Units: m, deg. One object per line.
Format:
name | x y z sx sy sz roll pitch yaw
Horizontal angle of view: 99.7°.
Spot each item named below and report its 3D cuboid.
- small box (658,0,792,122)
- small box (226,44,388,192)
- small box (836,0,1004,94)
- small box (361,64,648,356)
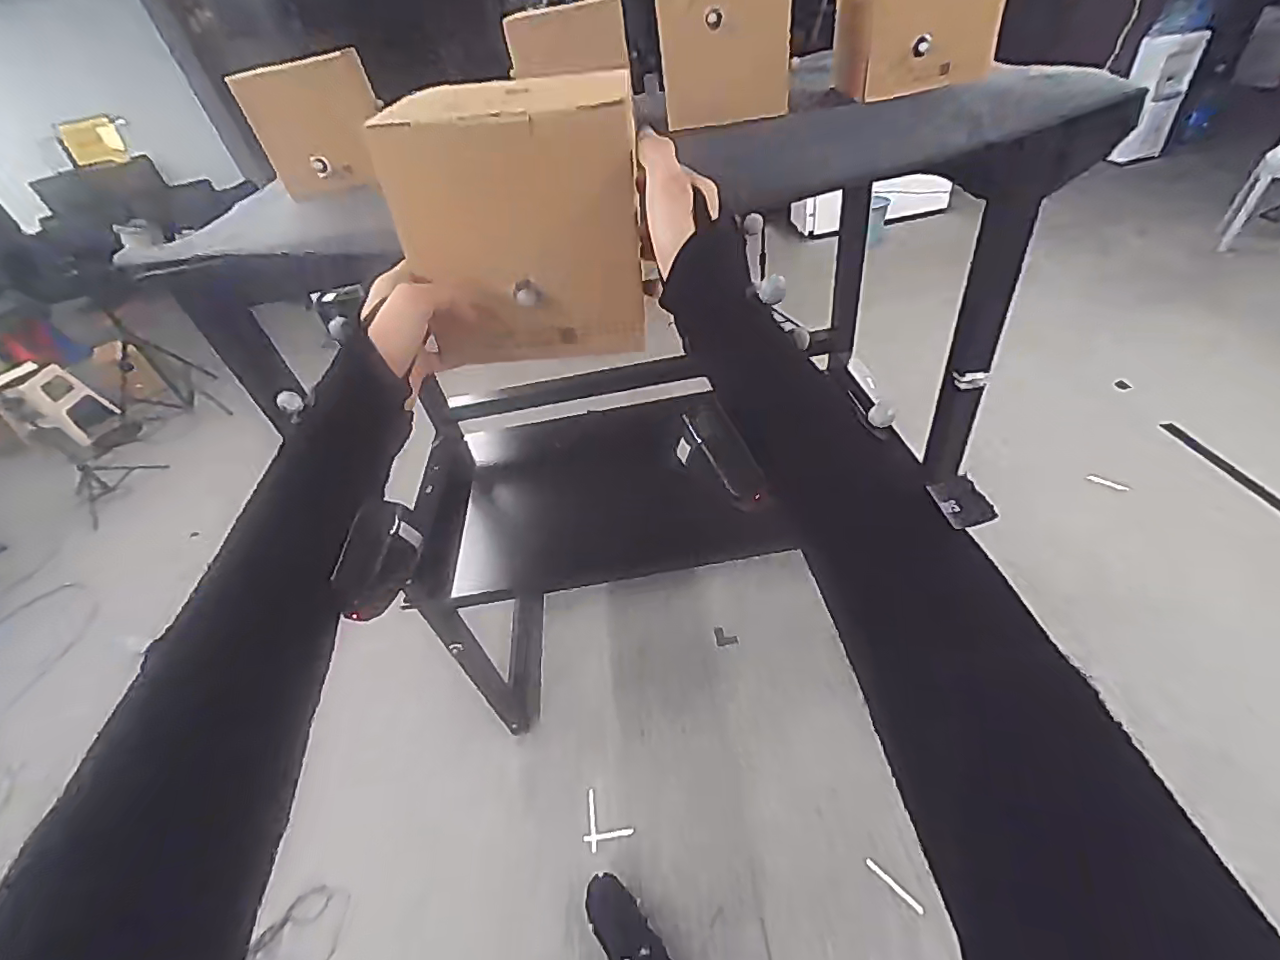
small box | 0.131 -0.644 0.793 0.179 0.176 0.168 1 44 14
small box | -0.520 -0.594 0.890 0.168 0.176 0.179 -17 43 -5
small box | 0.377 -0.652 0.745 0.168 0.176 0.179 -7 42 6
small box | -0.082 -0.216 0.433 0.168 0.176 0.179 -3 42 3
